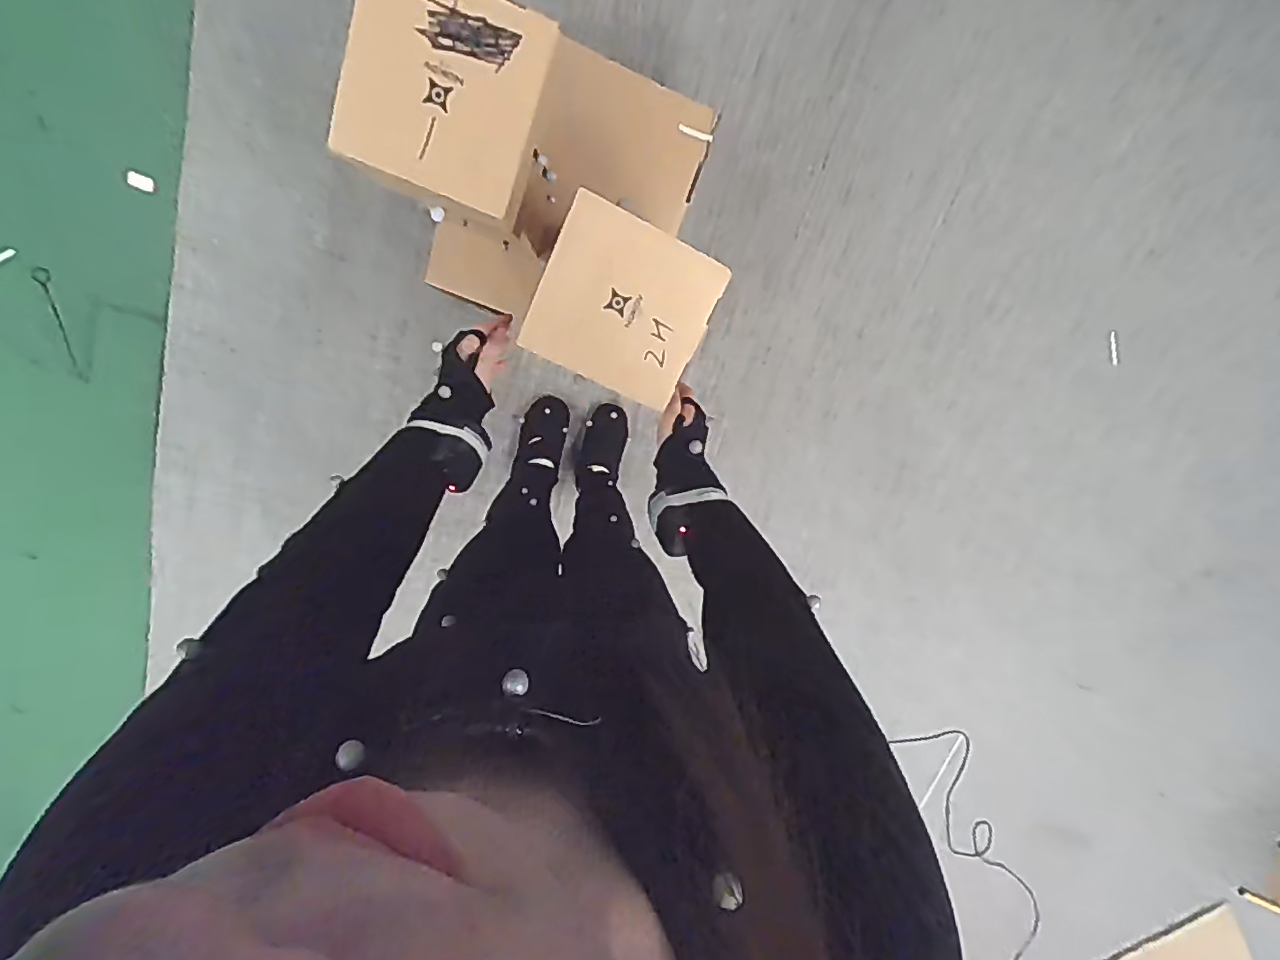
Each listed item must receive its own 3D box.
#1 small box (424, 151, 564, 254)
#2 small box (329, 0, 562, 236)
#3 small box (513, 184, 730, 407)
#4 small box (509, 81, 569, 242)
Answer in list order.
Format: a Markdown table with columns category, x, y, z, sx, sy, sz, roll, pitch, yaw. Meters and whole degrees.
| category | x | y | z | sx | sy | sz | roll | pitch | yaw |
| --- | --- | --- | --- | --- | --- | --- | --- | --- | --- |
| small box | -0.223 | -0.485 | 0.872 | 0.168 | 0.176 | 0.179 | 19 | 102 | -12 |
| small box | -0.186 | -0.381 | 0.564 | 0.168 | 0.176 | 0.179 | 19 | 104 | -12 |
| small box | -0.027 | -0.204 | 0.629 | 0.179 | 0.176 | 0.168 | 24 | 104 | -13 |
| small box | -0.200 | -0.440 | 0.716 | 0.168 | 0.176 | 0.179 | 19 | 105 | -12 |
